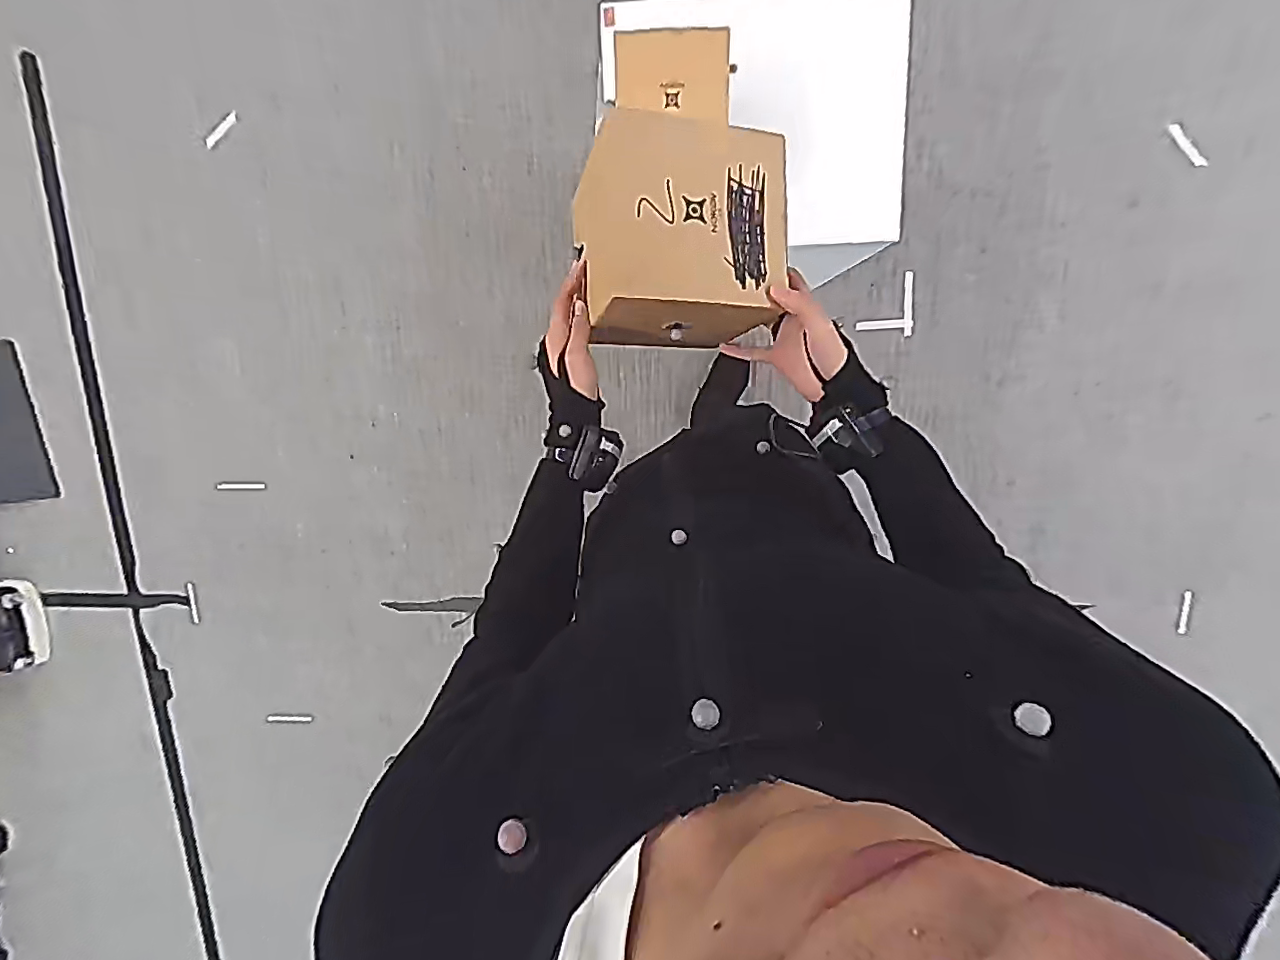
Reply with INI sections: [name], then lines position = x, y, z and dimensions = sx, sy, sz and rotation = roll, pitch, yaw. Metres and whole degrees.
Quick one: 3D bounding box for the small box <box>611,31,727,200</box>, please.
[small box]
position = 0.045, -0.556, 0.852
dimensions = 0.168, 0.176, 0.179
rotation = -1, 100, 2
